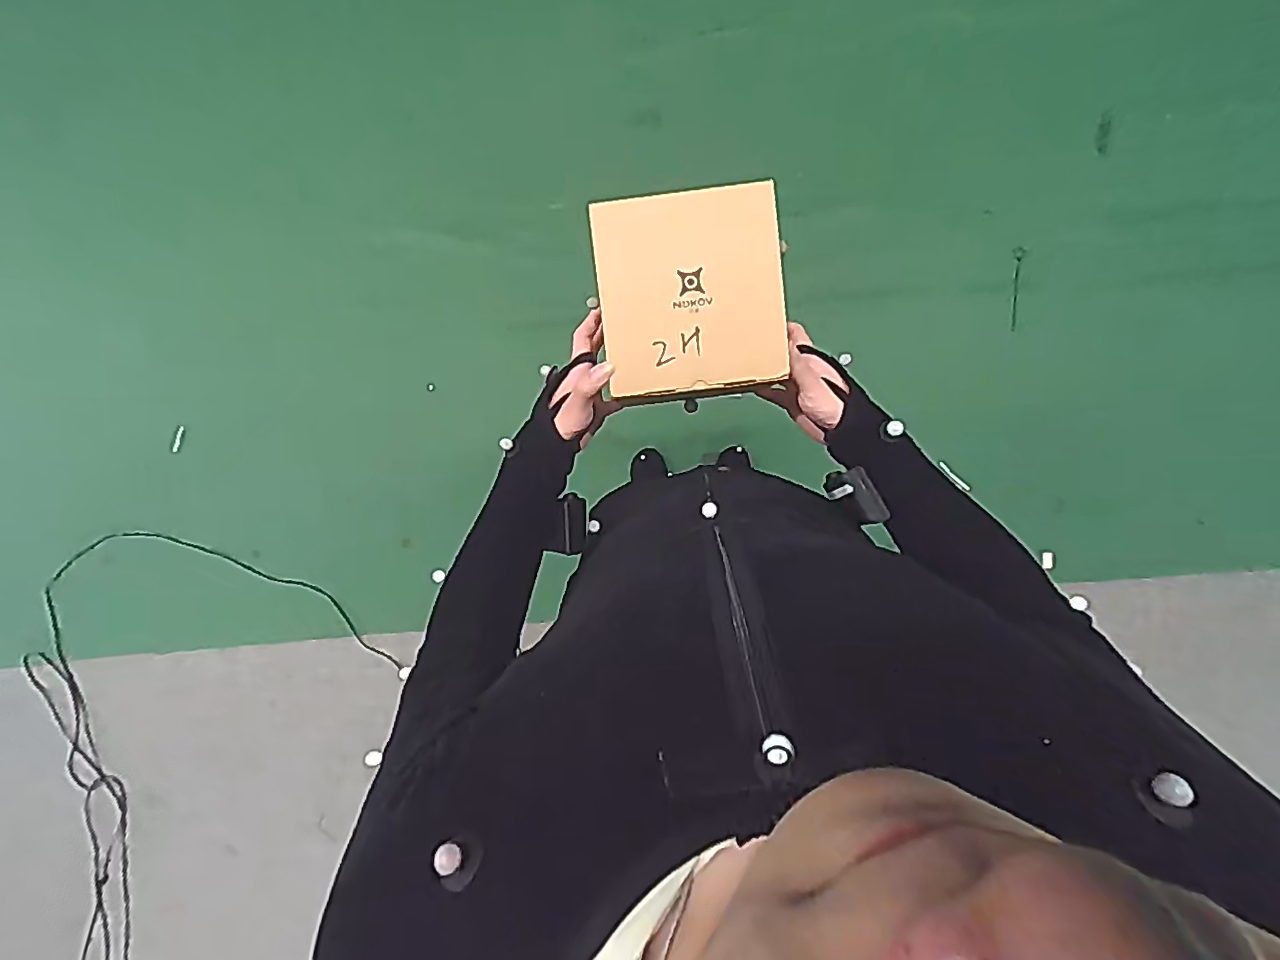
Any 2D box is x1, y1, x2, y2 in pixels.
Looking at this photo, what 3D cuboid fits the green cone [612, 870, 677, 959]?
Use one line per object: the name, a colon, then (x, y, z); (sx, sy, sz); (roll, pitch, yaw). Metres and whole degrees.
green cone: (0.003, 1.357, 1.565); (0.202, 0.368, 0.200); (-4, 93, 4)
